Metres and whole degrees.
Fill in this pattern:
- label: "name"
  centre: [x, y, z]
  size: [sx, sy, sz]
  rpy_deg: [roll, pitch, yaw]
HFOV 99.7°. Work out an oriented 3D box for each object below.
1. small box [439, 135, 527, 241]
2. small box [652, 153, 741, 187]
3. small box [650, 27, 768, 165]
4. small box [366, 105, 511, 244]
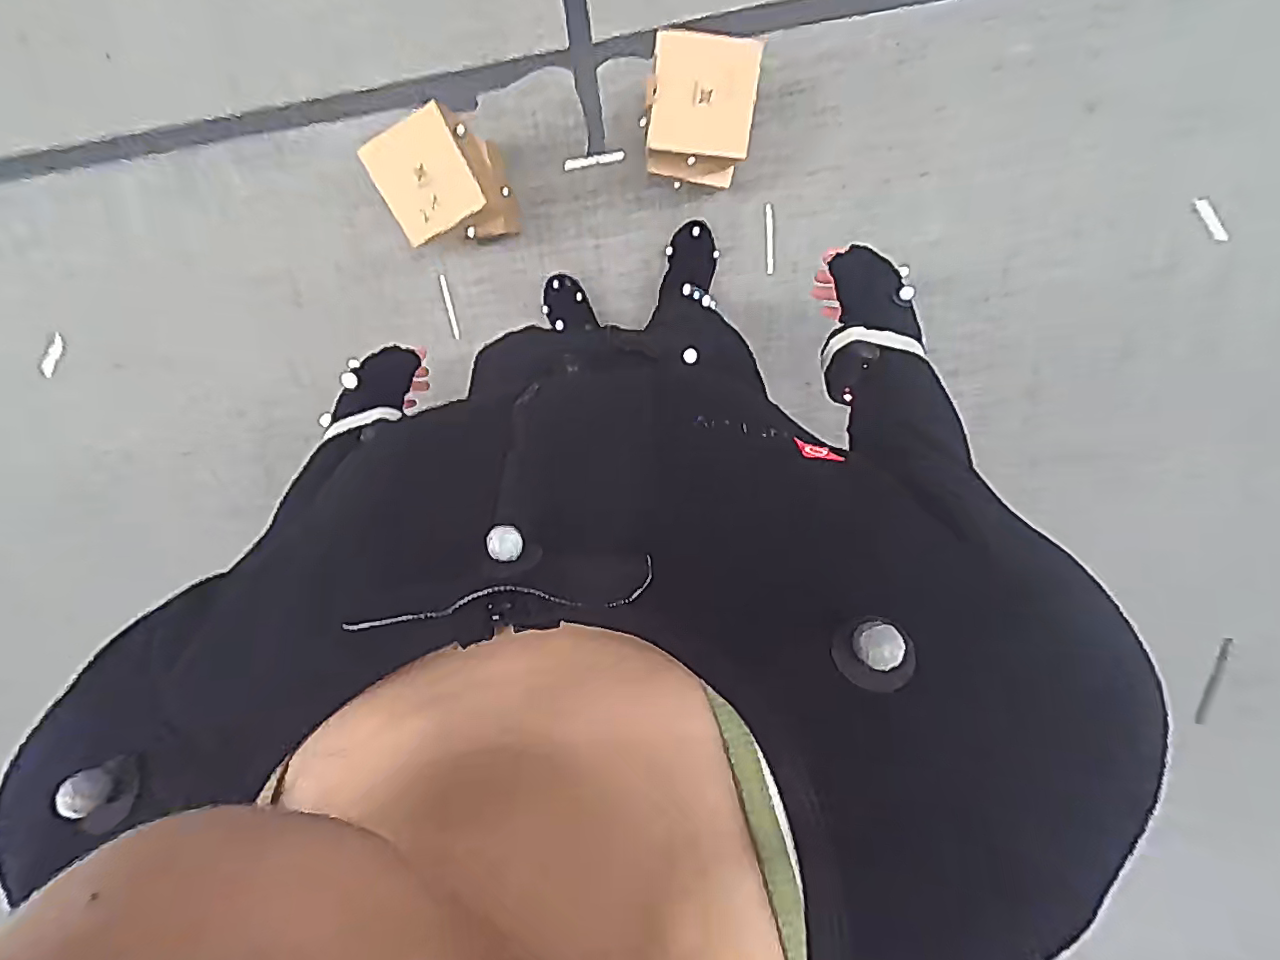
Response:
- label: "small box"
  centre: [-0.360, -0.633, 1.185]
  size: [0.168, 0.176, 0.179]
  rpy_deg: [-7, 114, 6]
- label: "small box"
  centre: [0.123, -0.720, 1.131]
  size: [0.179, 0.176, 0.168]
  rpy_deg: [8, 115, -4]
- label: "small box"
  centre: [0.113, -0.674, 0.971]
  size: [0.179, 0.176, 0.168]
  rpy_deg: [6, 116, -2]
- label: "small box"
  centre: [-0.371, -0.572, 1.031]
  size: [0.168, 0.176, 0.179]
  rpy_deg: [-19, 115, 12]
